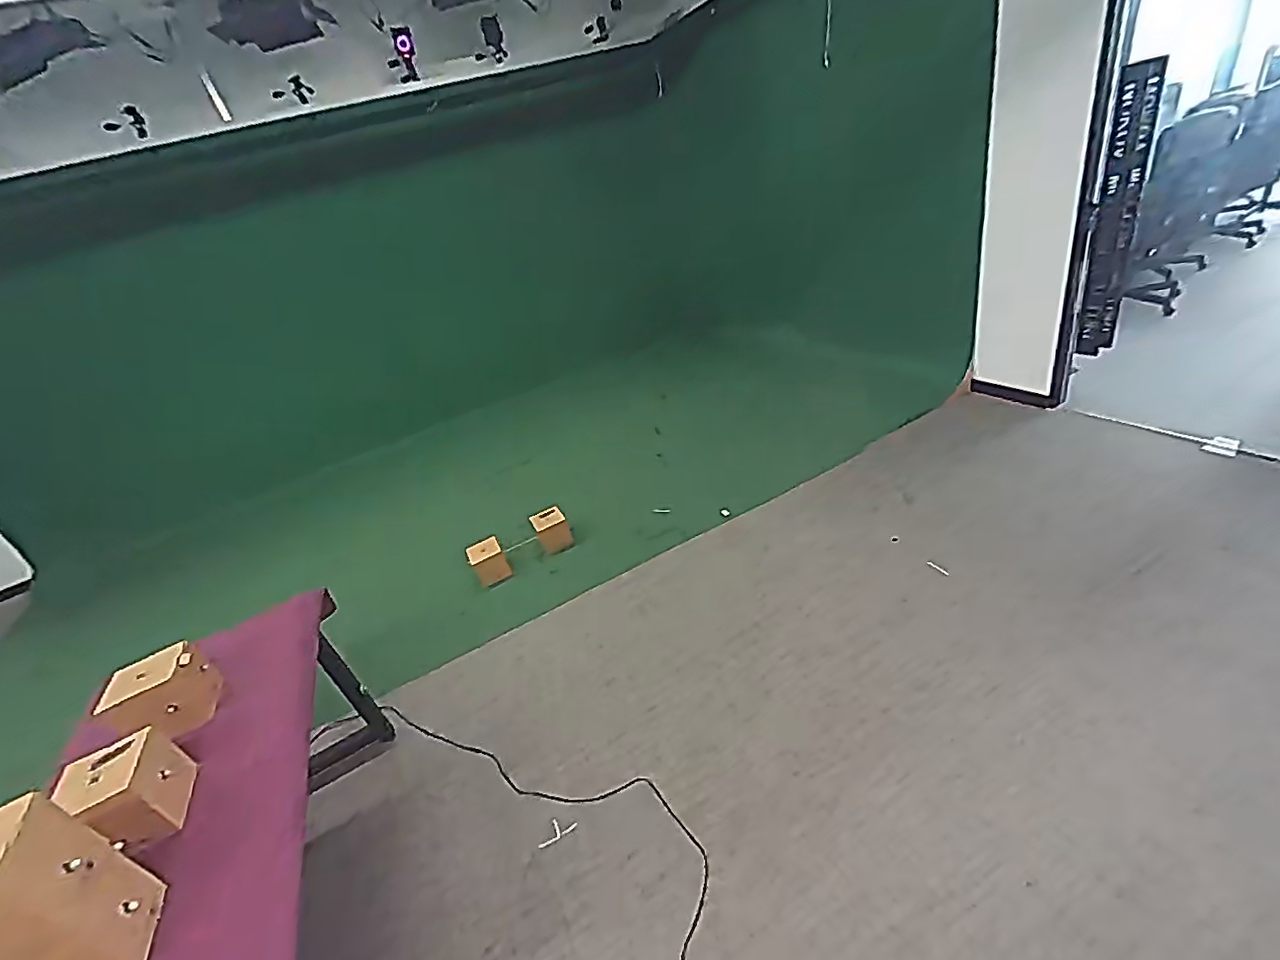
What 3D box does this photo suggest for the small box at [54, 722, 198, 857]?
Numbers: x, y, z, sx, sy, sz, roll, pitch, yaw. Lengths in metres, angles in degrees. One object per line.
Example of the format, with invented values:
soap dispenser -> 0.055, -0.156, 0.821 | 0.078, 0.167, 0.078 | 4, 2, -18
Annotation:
small box -> -1.109, 0.678, 1.170 | 0.168, 0.176, 0.179 | -26, 32, -17

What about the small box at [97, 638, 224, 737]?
small box -> -1.252, 0.563, 1.432 | 0.179, 0.176, 0.168 | -26, 31, -16

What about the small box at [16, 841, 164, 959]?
small box -> -0.981, 0.785, 0.930 | 0.179, 0.176, 0.168 | -25, 30, -17

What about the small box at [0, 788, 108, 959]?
small box -> -1.019, 0.645, 0.851 | 0.179, 0.176, 0.168 | -25, 32, -18

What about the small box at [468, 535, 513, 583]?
small box -> -0.801, 0.429, 2.896 | 0.168, 0.176, 0.179 | -26, 31, -16
